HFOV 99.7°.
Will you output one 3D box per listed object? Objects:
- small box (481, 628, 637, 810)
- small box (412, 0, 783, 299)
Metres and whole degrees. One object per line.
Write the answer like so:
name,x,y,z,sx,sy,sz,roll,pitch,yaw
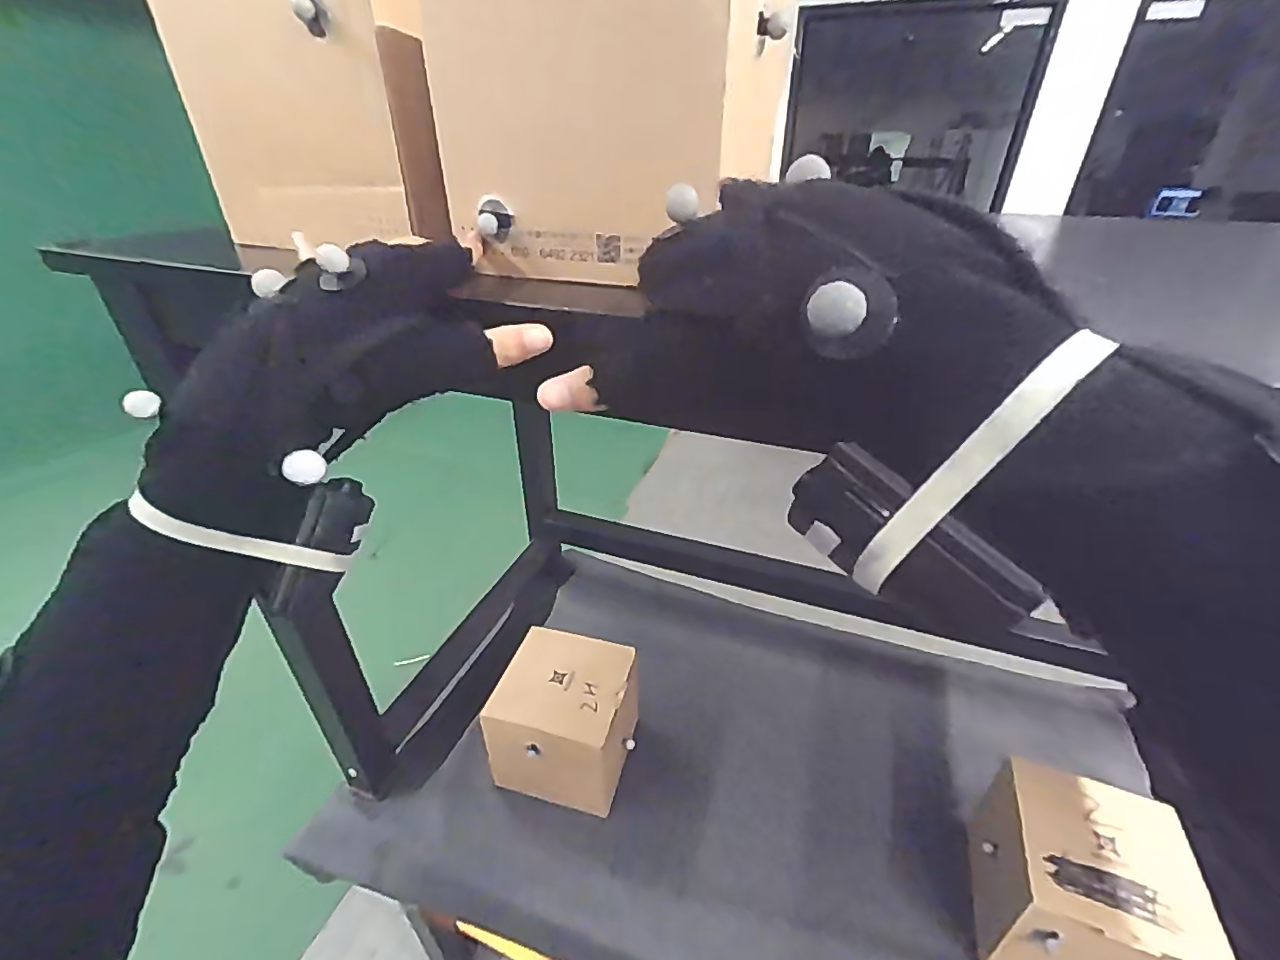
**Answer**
small box,-0.109,0.353,0.805,0.179,0.176,0.168,9,33,13
small box,-0.010,-0.221,0.348,0.168,0.176,0.179,11,32,17
